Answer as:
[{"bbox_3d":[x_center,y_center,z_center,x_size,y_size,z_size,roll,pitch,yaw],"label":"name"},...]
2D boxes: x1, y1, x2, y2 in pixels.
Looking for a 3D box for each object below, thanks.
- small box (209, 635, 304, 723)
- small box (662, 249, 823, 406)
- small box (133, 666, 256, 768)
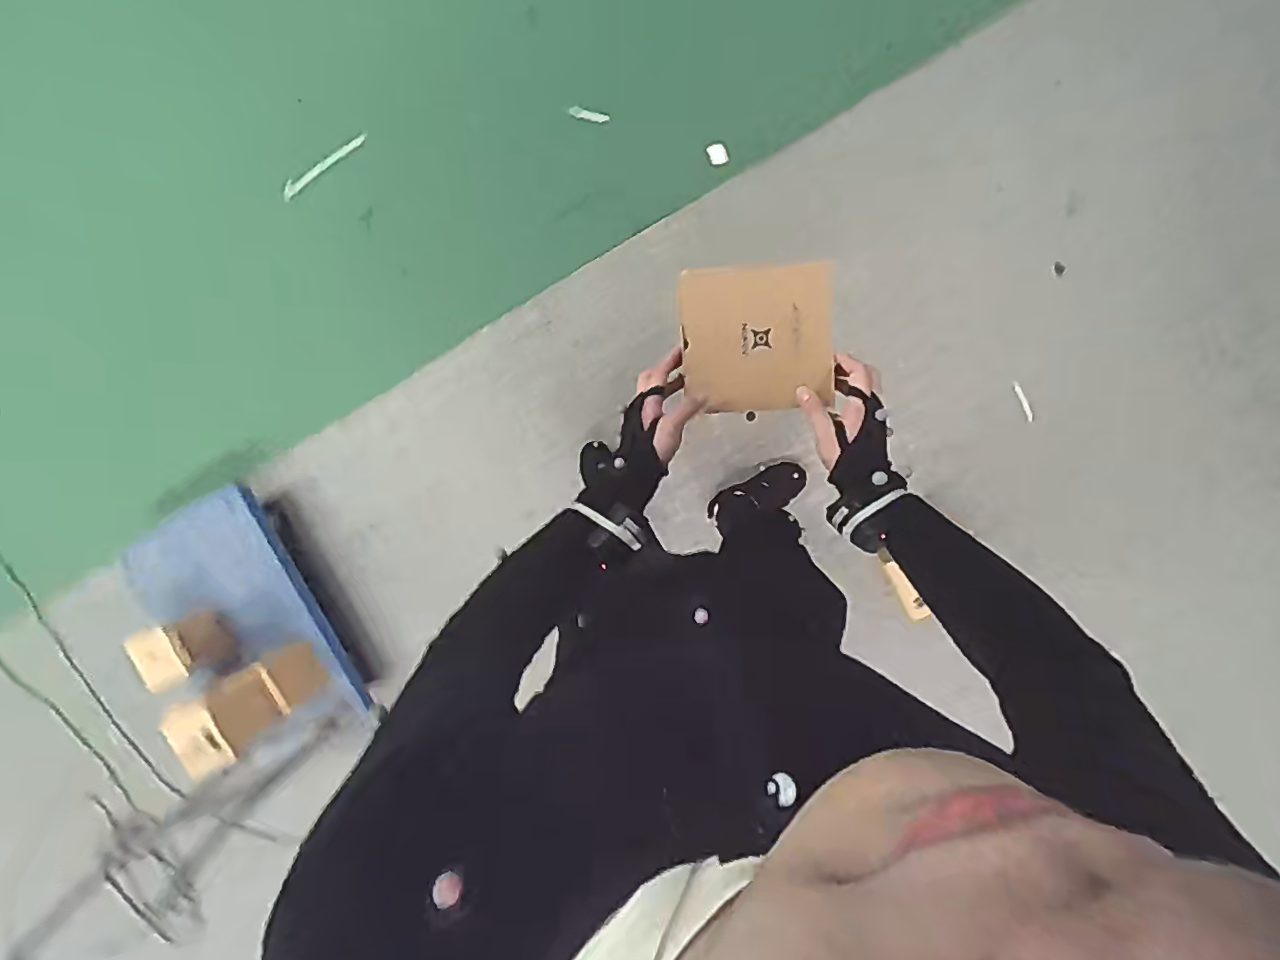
[{"bbox_3d":[-1.148,0.595,1.631,0.168,0.176,0.179,5,101,6],"label":"small box"},{"bbox_3d":[0.120,-0.182,0.683,0.179,0.176,0.168,-3,101,3],"label":"small box"},{"bbox_3d":[-1.193,0.635,1.468,0.179,0.176,0.168,-25,95,13],"label":"small box"}]
